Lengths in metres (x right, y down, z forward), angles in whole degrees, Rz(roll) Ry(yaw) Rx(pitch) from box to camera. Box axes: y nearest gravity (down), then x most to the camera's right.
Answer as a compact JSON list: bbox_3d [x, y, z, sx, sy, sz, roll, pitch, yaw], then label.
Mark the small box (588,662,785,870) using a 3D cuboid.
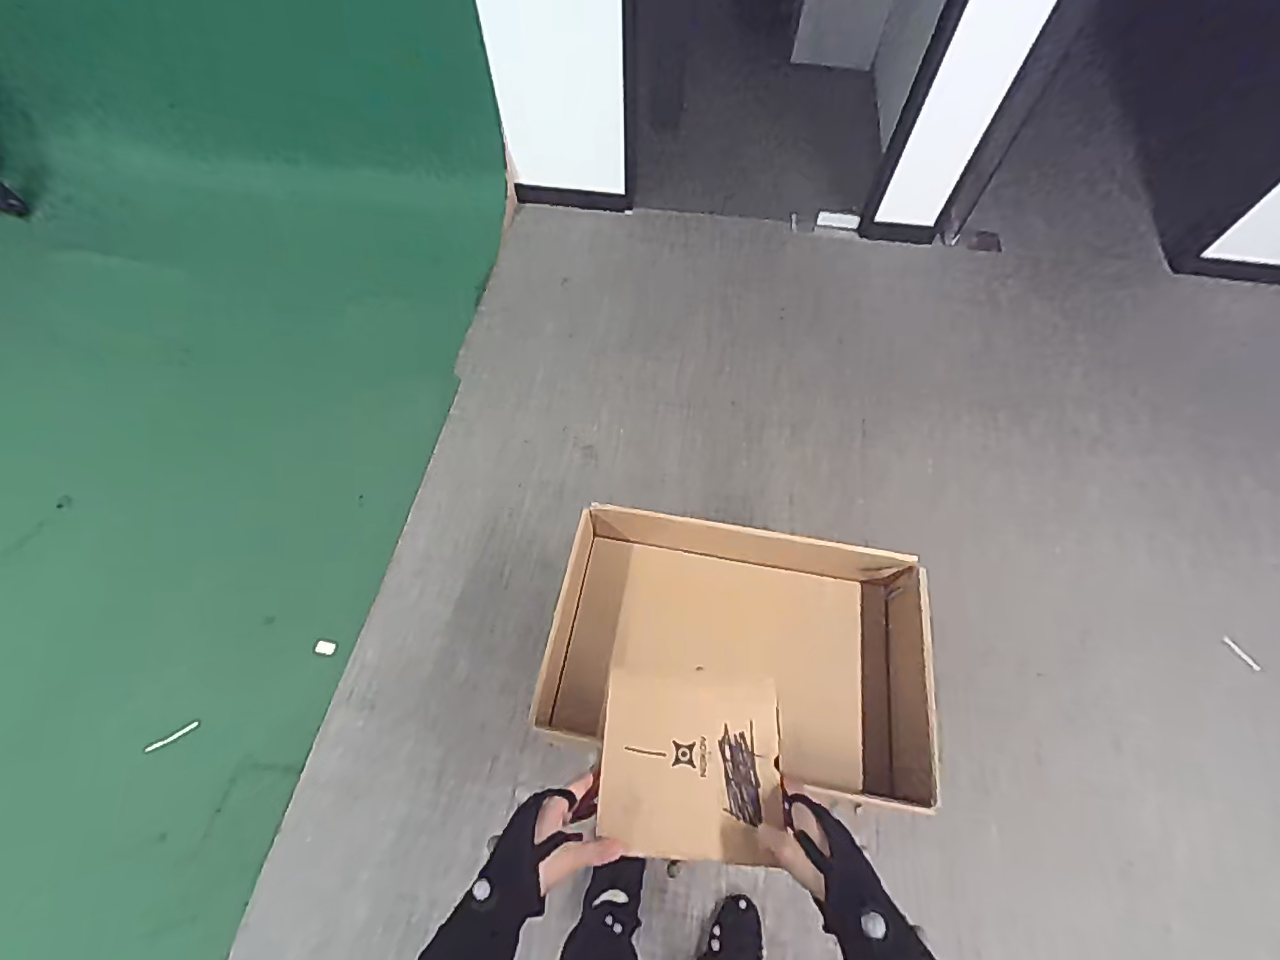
[{"bbox_3d":[0.043,0.309,0.580,0.179,0.176,0.168,5,55,0],"label":"small box"}]
